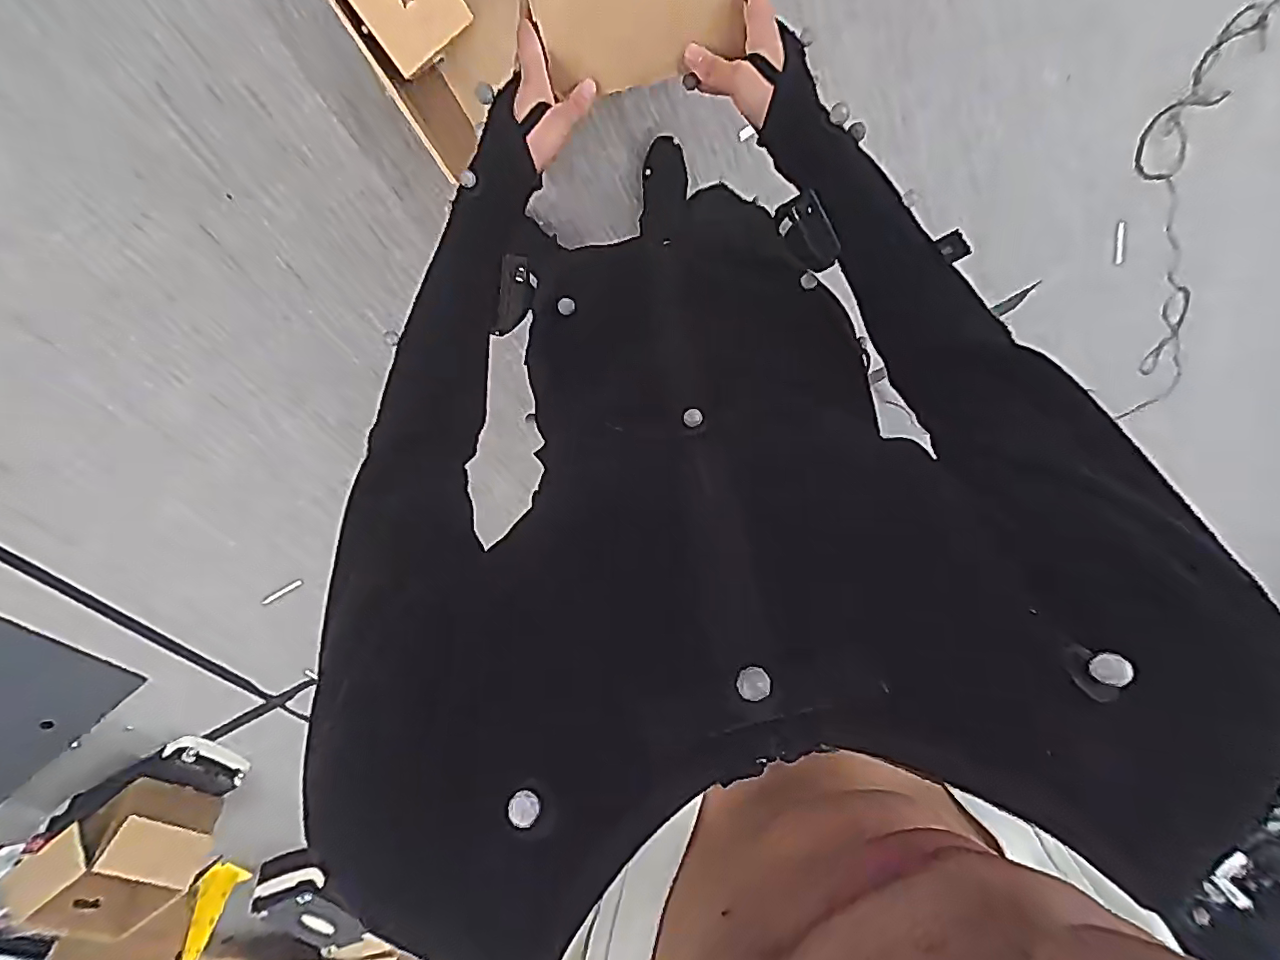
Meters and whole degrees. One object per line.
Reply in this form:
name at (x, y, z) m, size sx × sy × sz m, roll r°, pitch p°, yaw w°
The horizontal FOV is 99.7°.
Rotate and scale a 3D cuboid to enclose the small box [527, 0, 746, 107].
small box at (-0.016, -0.458, 0.479) m, size 0.179 × 0.176 × 0.168 m, roll -12°, pitch 131°, yaw 4°
